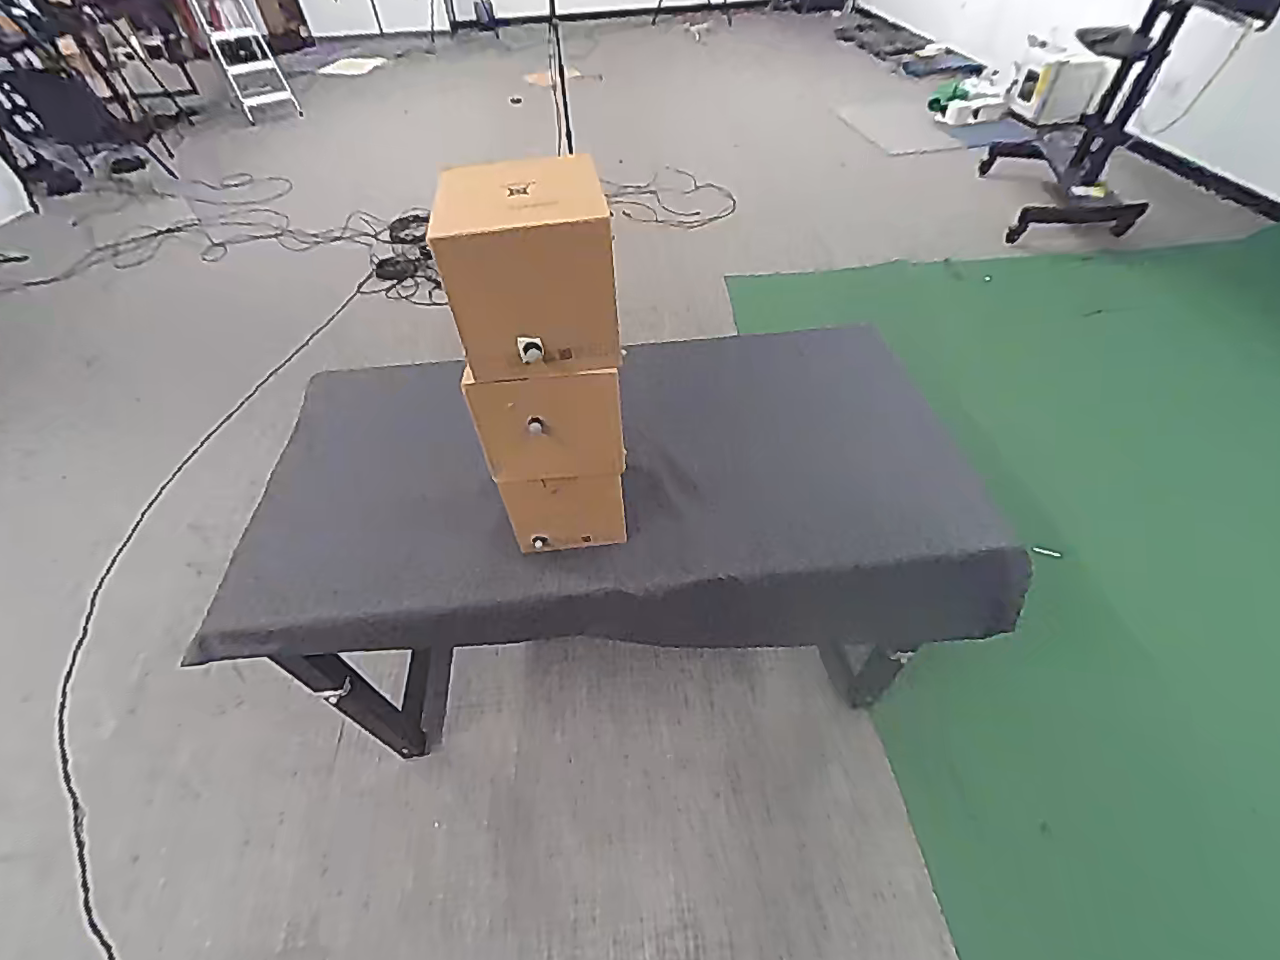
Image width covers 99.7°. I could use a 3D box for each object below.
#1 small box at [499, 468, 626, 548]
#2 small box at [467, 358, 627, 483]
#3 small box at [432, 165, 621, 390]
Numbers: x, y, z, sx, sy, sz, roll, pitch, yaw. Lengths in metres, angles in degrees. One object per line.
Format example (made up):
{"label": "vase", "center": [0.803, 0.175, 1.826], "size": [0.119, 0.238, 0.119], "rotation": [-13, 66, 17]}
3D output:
{"label": "small box", "center": [-0.113, -0.006, 0.847], "size": [0.168, 0.176, 0.179], "rotation": [-5, 46, -2]}
{"label": "small box", "center": [-0.116, -0.111, 0.725], "size": [0.179, 0.176, 0.168], "rotation": [-7, 46, -4]}
{"label": "small box", "center": [-0.118, -0.226, 0.607], "size": [0.168, 0.176, 0.179], "rotation": [-10, 49, -5]}
